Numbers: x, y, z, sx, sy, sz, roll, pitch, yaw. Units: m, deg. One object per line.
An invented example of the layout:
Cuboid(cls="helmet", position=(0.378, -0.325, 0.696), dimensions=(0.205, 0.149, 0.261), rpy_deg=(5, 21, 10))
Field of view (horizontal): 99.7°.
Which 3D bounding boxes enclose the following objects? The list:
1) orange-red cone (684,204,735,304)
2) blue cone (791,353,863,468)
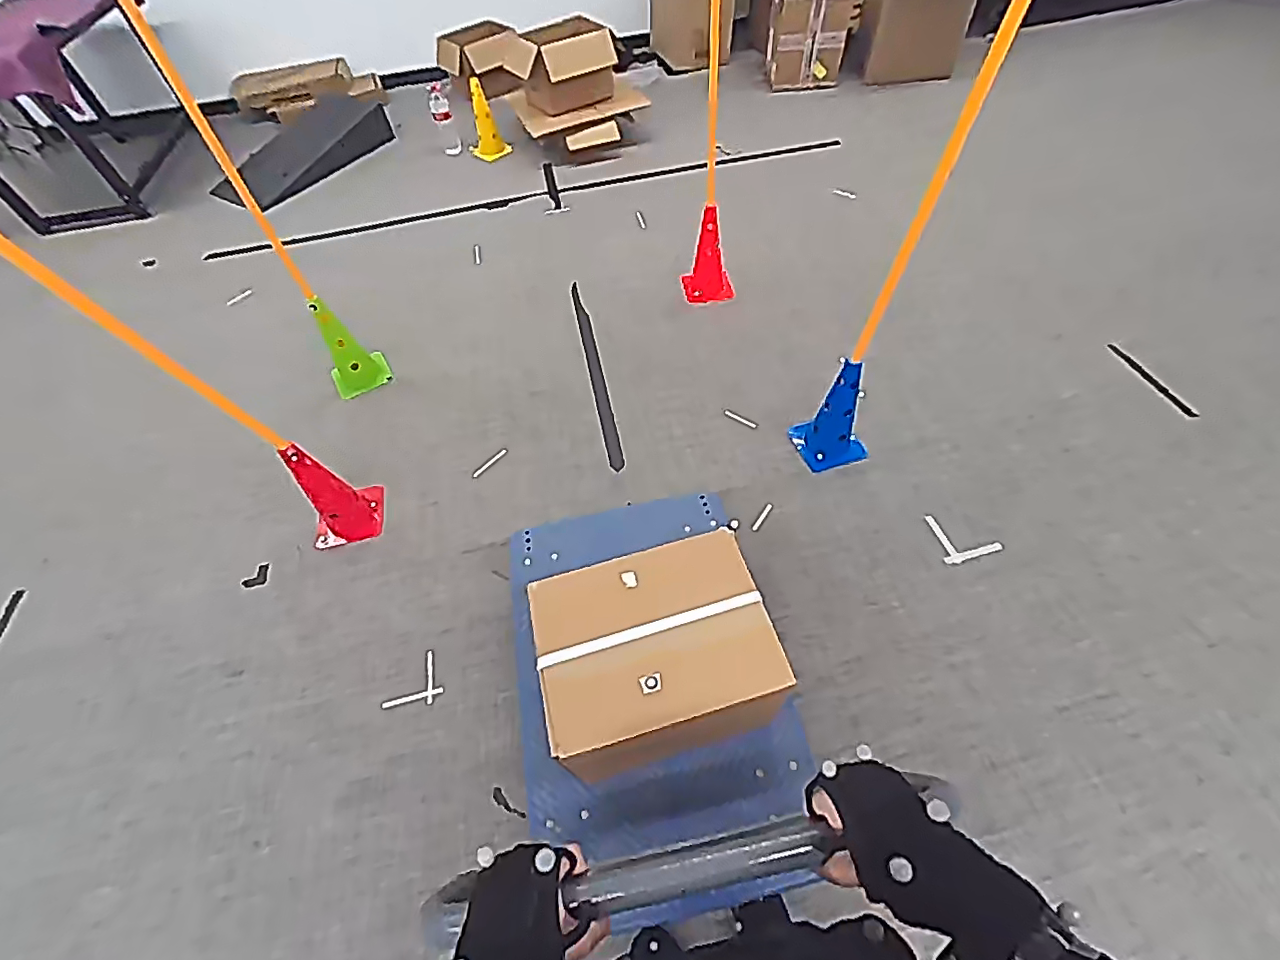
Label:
Cuboid(cls="orange-red cone", position=(0.283, -0.912, 2.144), dimensions=(0.199, 0.360, 0.198), rpy_deg=(-6, 55, -1))
Cuboid(cls="blue cone", position=(0.604, -0.221, 1.644), dimensions=(0.193, 0.380, 0.192), rpy_deg=(-15, 54, -7))
